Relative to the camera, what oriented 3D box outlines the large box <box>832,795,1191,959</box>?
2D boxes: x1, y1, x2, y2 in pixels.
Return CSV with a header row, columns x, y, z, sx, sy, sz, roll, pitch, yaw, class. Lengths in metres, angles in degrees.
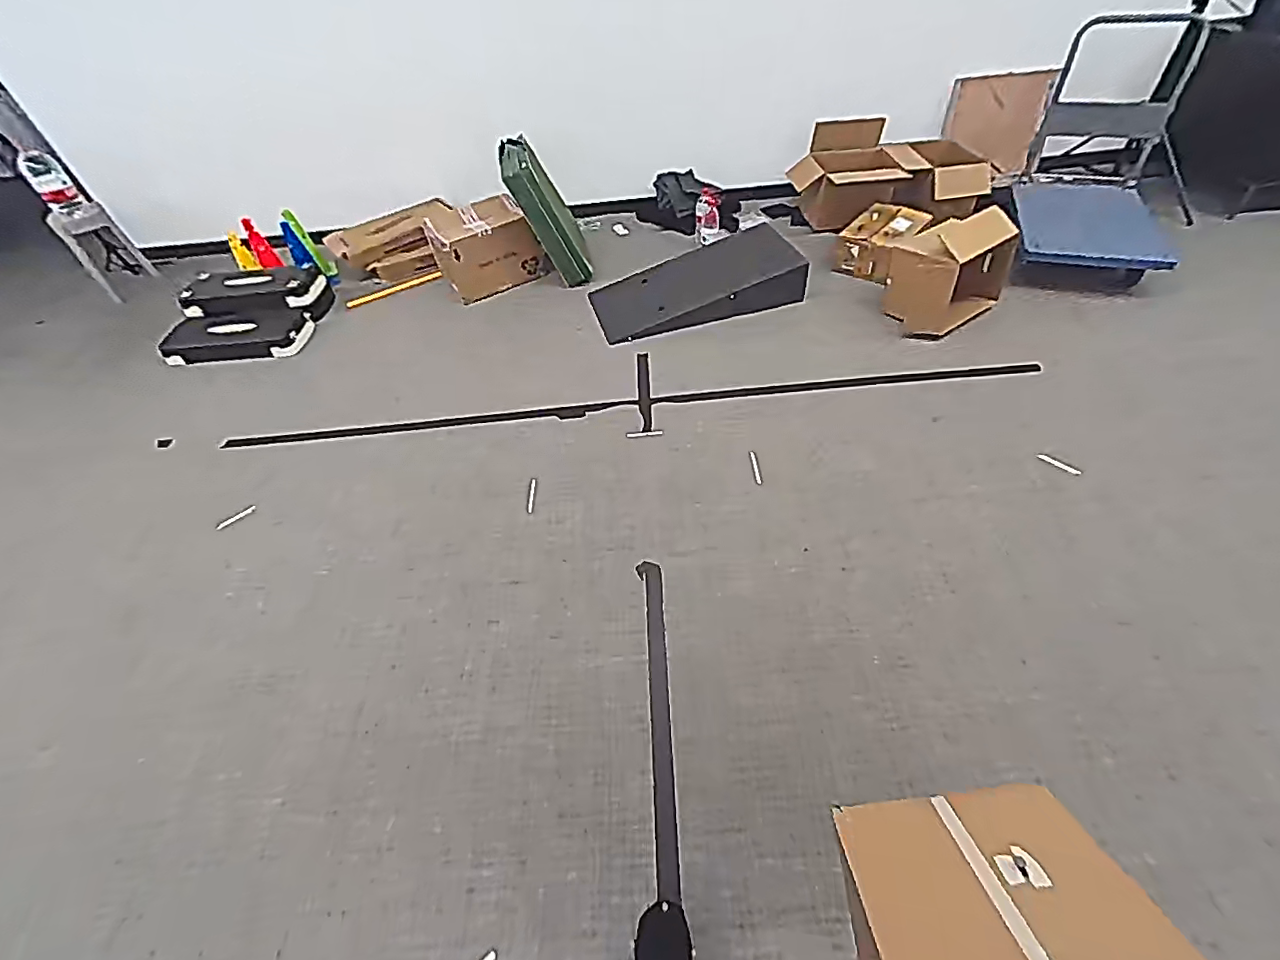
x,y,z,sx,sy,sz,roll,pitch,yaw,class
0.458,0.666,0.643,0.320,0.320,0.408,-9,6,6,large box
